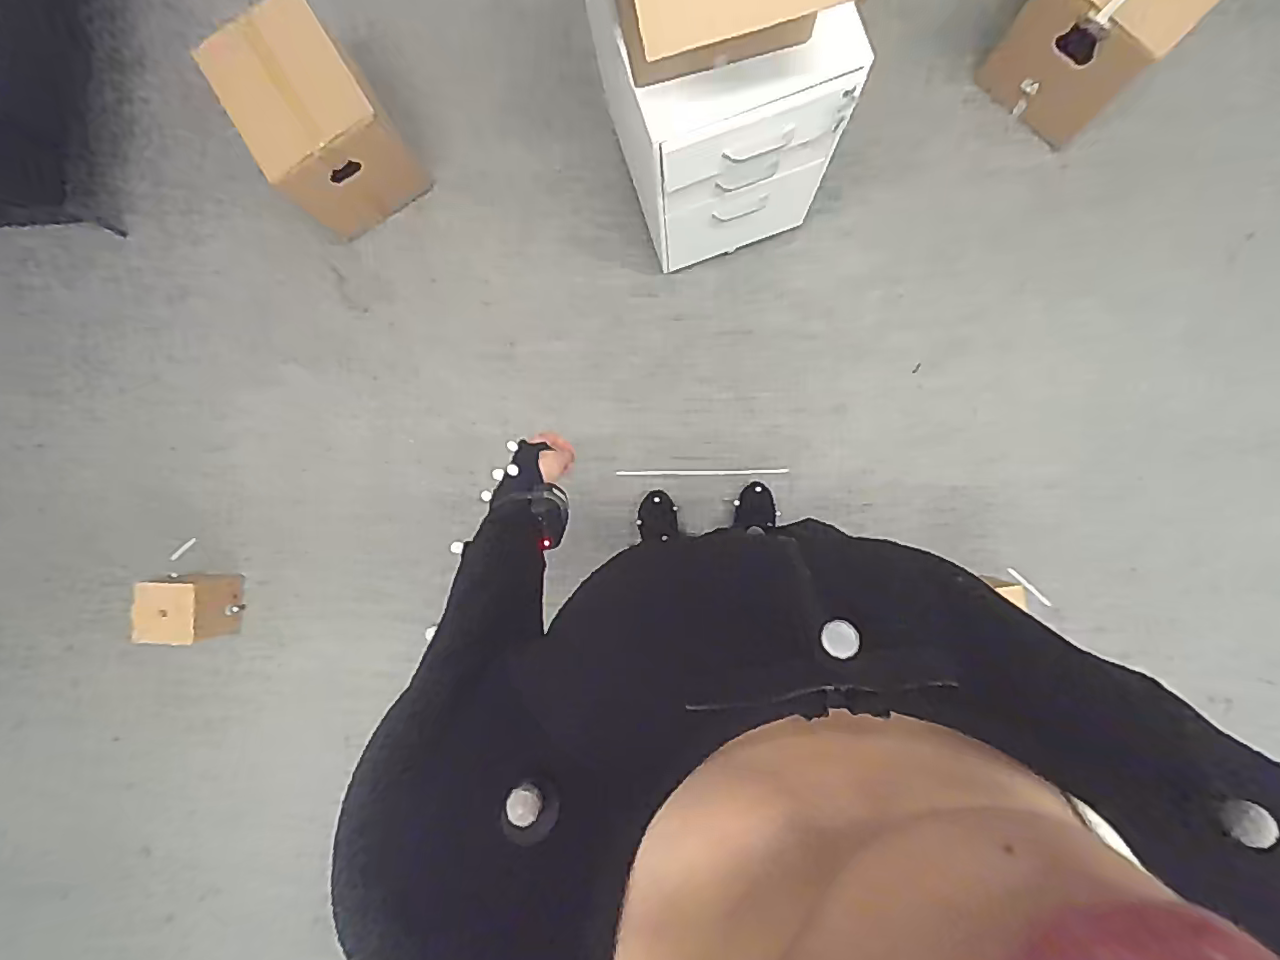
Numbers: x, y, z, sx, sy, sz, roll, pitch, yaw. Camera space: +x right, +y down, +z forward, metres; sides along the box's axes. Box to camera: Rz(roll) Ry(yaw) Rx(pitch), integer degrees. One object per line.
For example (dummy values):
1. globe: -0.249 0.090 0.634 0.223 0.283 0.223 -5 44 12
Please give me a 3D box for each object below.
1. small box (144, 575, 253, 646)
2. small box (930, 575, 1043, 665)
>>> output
1. small box: -1.252 0.366 1.541 0.179 0.176 0.168 0 89 4
2. small box: 0.848 0.338 1.342 0.168 0.176 0.179 -9 88 5
